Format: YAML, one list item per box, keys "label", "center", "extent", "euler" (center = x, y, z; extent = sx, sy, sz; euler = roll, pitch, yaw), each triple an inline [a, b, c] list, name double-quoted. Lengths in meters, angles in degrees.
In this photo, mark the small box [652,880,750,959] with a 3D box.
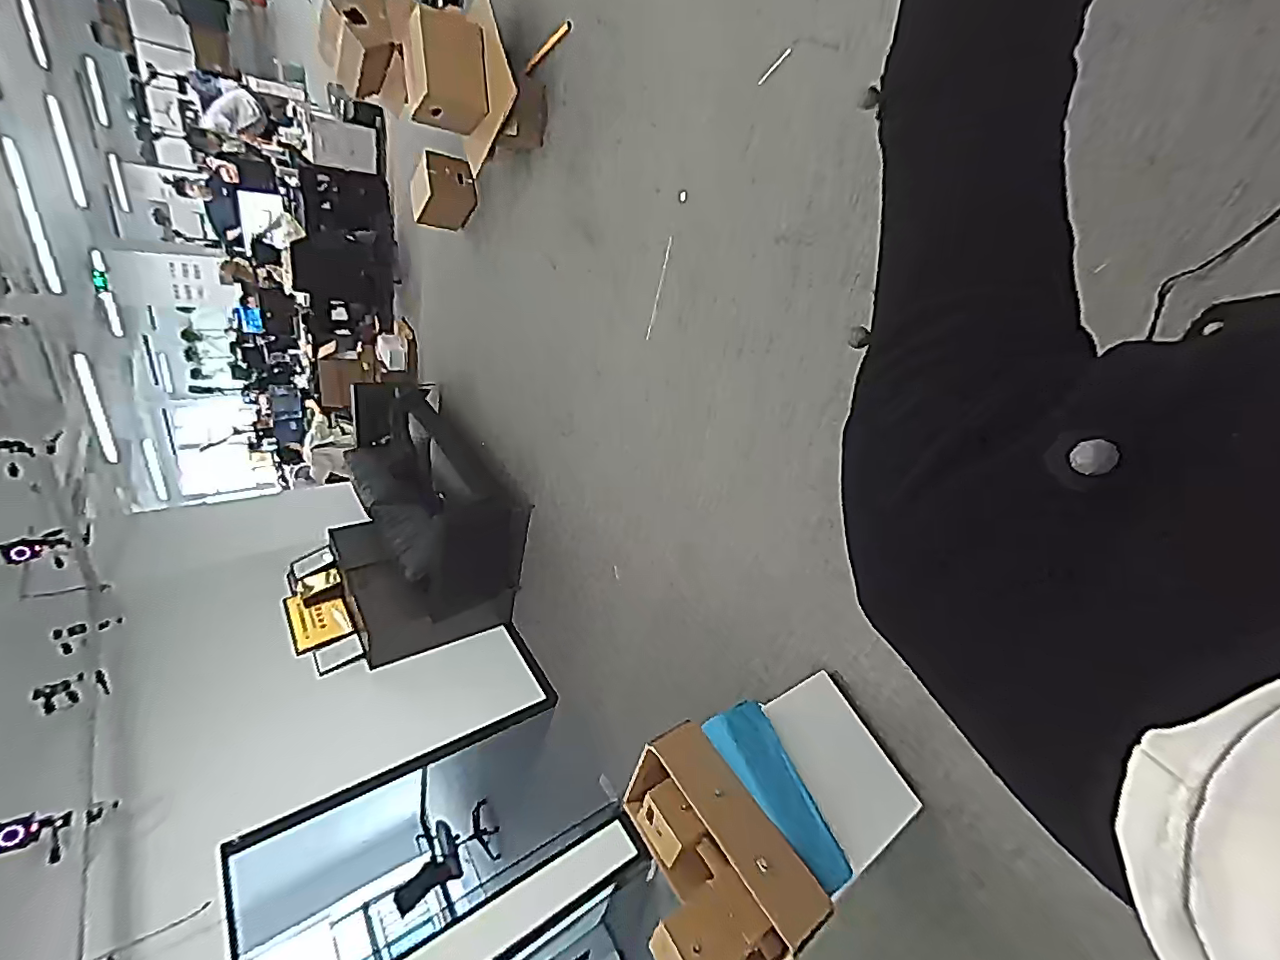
- label: "small box"
  center: [0.161, 1.221, 1.433]
  extent: [0.179, 0.176, 0.168]
  euler: [44, 132, 39]
